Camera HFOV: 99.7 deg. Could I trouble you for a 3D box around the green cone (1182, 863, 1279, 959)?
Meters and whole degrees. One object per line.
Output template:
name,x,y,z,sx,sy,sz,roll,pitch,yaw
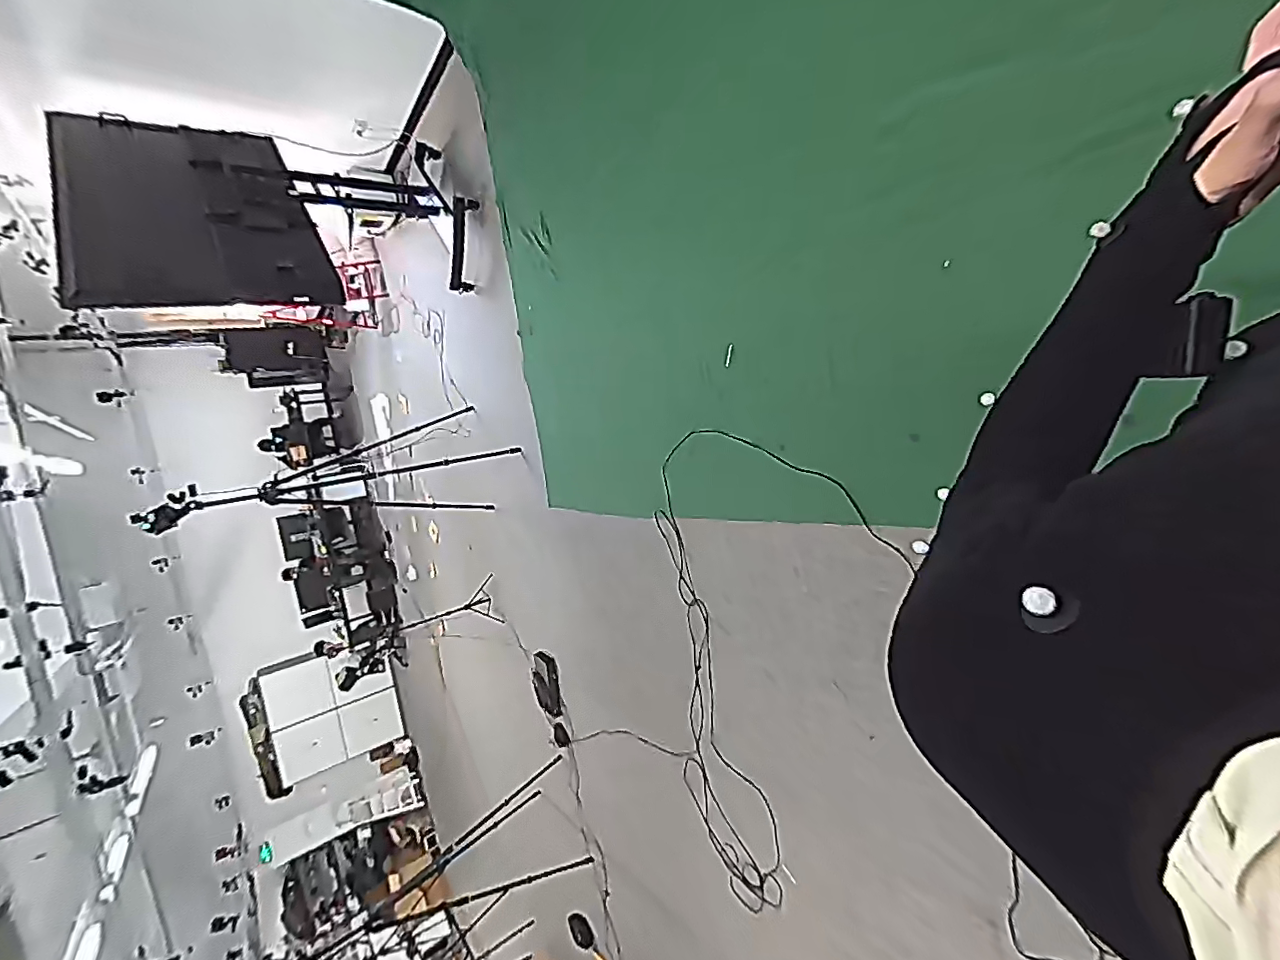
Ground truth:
green cone,1.292,1.072,1.178,0.202,0.368,0.200,0,101,53
